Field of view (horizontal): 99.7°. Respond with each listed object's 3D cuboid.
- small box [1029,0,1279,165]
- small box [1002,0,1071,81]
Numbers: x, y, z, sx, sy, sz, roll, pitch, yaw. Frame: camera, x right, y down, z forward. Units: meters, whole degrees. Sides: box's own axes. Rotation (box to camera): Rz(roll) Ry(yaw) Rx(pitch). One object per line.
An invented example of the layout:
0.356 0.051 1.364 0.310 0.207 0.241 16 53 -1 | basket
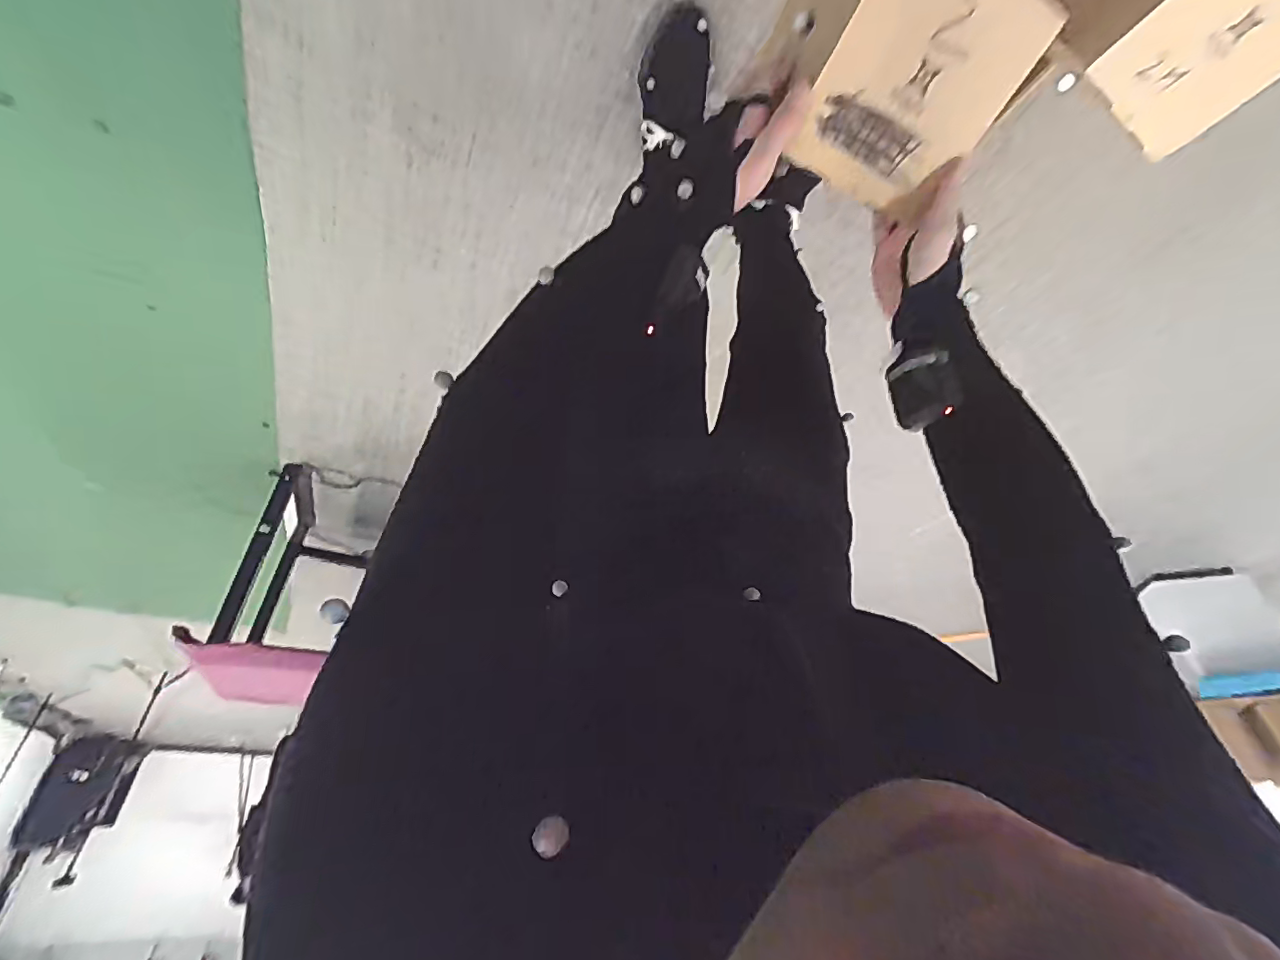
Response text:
0.545 -0.477 0.542 0.168 0.176 0.179 21 143 -27 | small box
0.548 -0.616 0.631 0.168 0.176 0.179 19 143 -27 | small box
